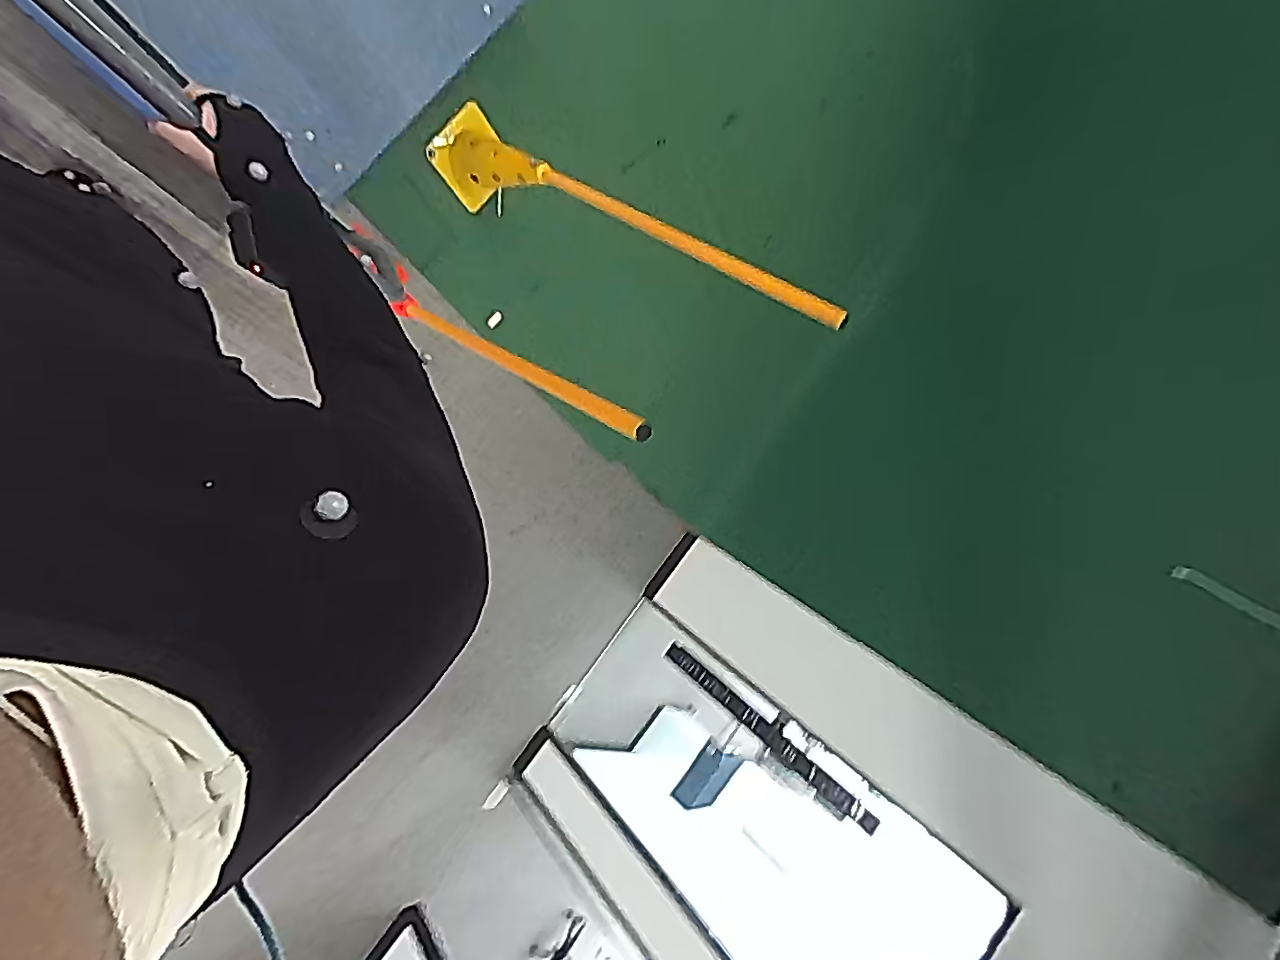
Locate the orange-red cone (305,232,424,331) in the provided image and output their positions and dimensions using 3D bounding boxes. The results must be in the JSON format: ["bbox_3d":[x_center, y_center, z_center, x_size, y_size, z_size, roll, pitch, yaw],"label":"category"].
[{"bbox_3d":[-0.628,-0.448,1.328,0.199,0.360,0.198,-53,144,-8],"label":"orange-red cone"}]
